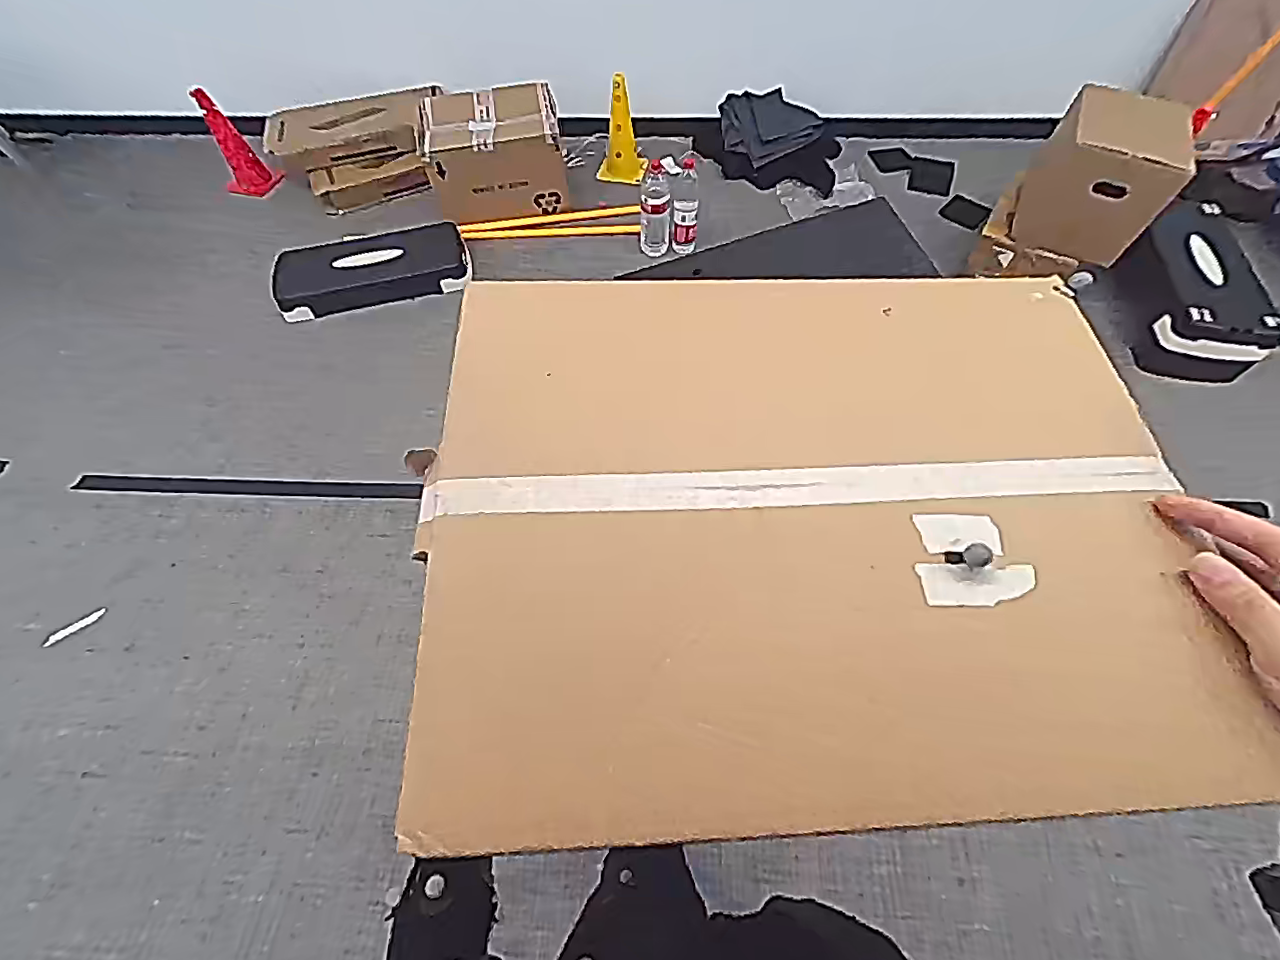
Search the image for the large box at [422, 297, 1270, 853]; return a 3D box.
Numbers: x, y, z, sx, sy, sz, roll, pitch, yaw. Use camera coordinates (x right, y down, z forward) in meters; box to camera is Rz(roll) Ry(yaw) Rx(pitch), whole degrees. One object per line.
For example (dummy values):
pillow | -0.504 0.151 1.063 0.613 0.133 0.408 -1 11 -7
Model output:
large box | 0.085 0.078 0.439 0.408 0.320 0.320 -2 64 -4
